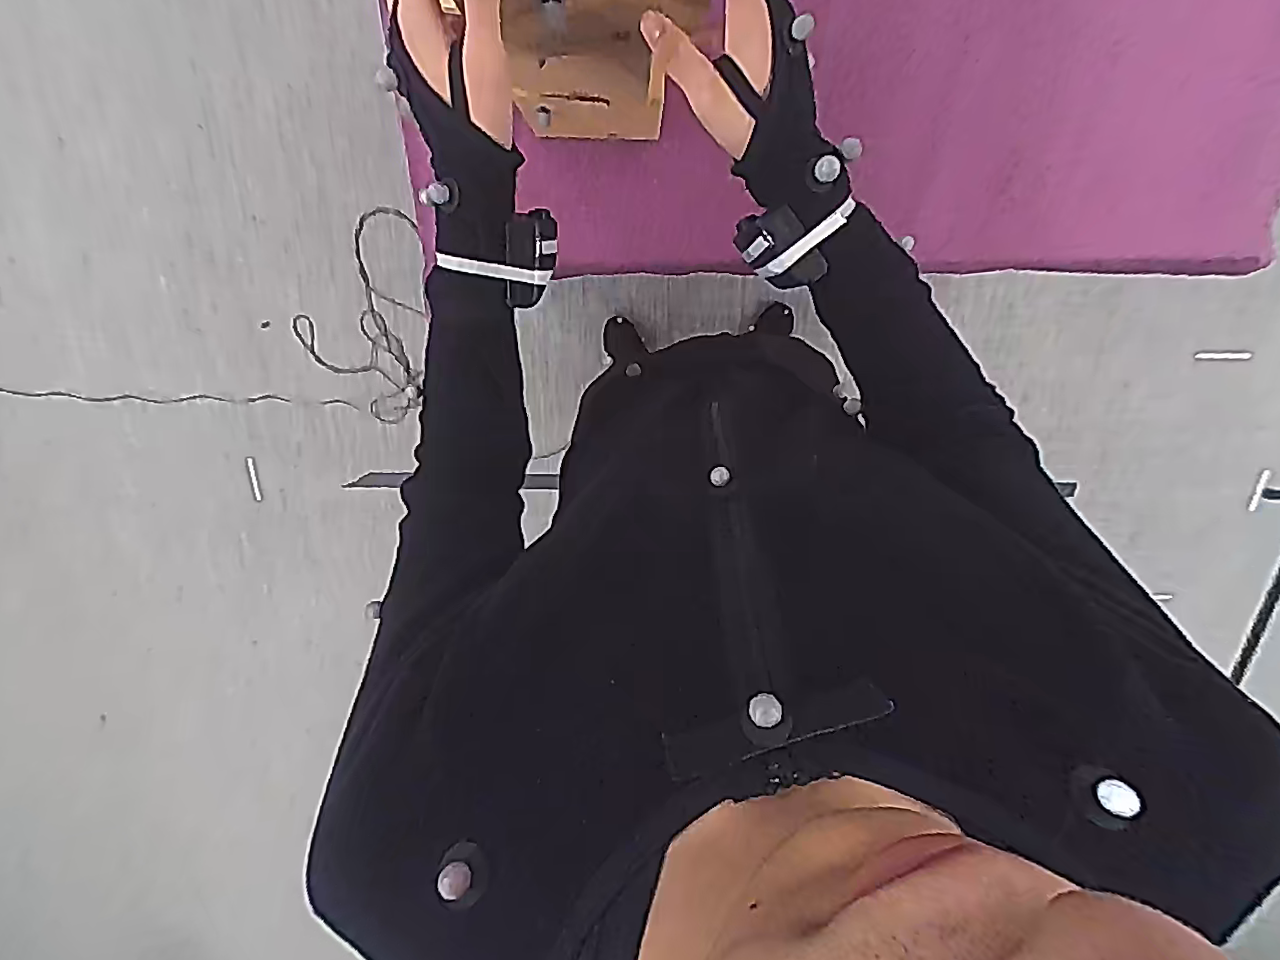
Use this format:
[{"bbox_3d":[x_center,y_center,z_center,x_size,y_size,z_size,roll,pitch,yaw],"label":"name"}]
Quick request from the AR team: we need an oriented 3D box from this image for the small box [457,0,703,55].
[{"bbox_3d":[-0.042,-0.388,0.323,0.168,0.176,0.179,-5,108,1],"label":"small box"}]

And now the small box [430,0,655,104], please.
[{"bbox_3d":[-0.067,-0.457,0.471,0.179,0.176,0.168,7,110,-3],"label":"small box"}]
